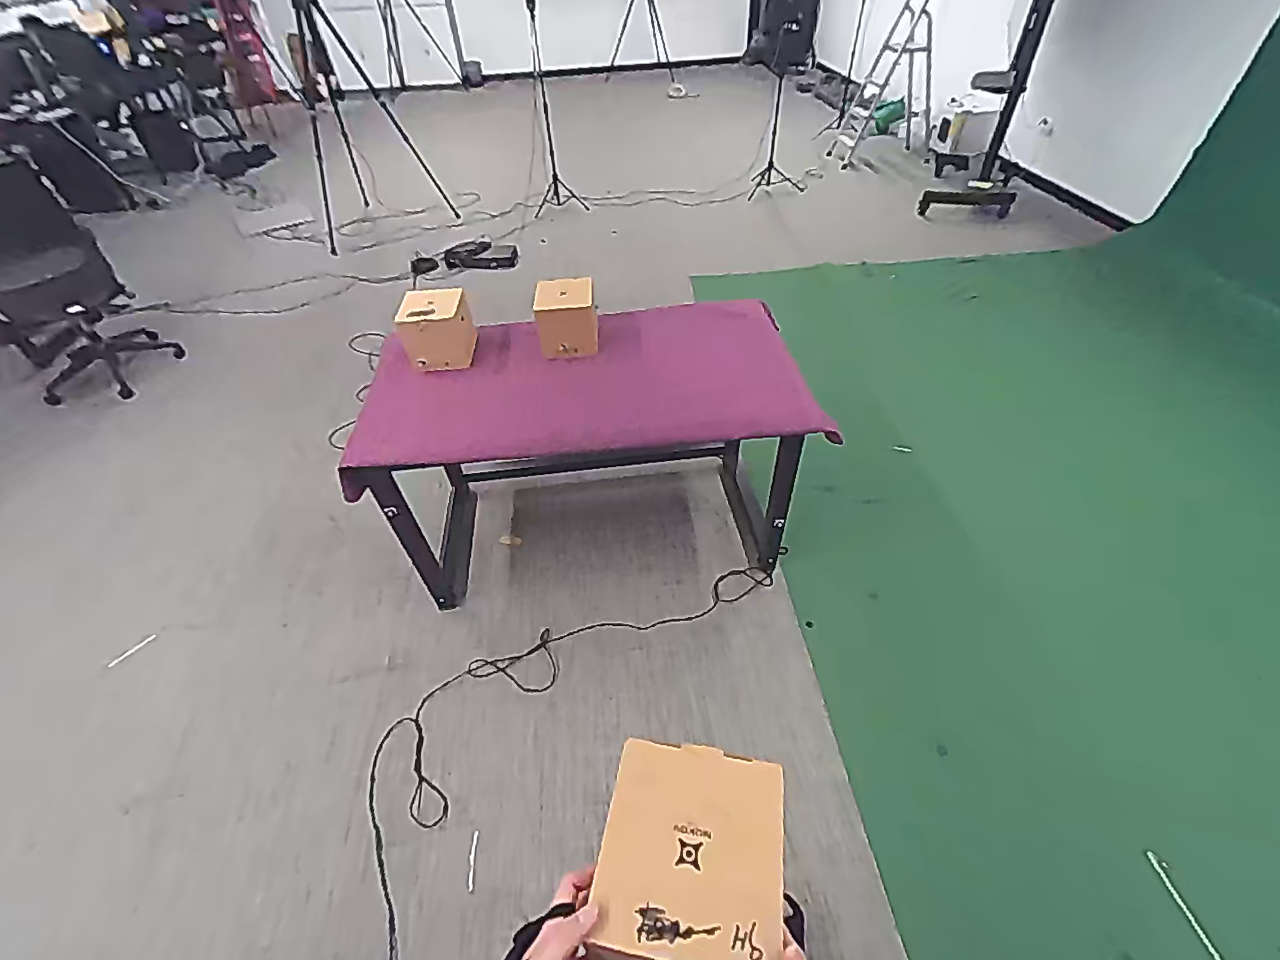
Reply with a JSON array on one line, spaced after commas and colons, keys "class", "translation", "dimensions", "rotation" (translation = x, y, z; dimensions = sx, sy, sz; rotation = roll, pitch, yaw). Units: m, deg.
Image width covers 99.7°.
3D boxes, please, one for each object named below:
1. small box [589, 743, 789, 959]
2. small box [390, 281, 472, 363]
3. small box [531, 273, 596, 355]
[{"class": "small box", "translation": [0.056, 0.405, 0.546], "dimensions": [0.168, 0.176, 0.179], "rotation": [5, 39, 11]}, {"class": "small box", "translation": [-0.595, -0.451, 1.564], "dimensions": [0.168, 0.176, 0.179], "rotation": [-4, 47, -3]}, {"class": "small box", "translation": [-0.220, -0.487, 1.592], "dimensions": [0.168, 0.176, 0.179], "rotation": [-3, 48, 0]}]
